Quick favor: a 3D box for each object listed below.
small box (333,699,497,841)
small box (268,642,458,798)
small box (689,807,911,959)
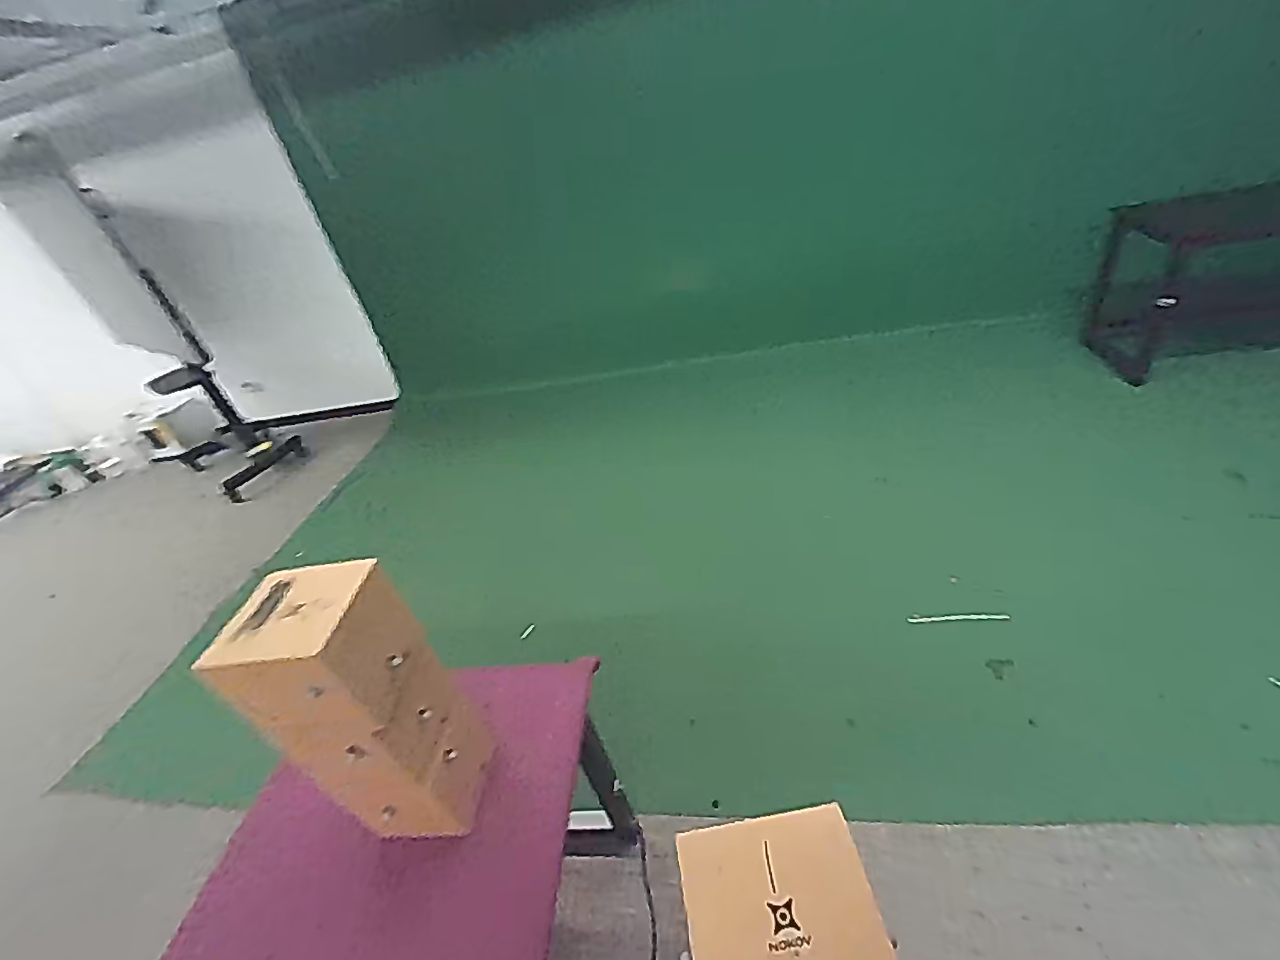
[{"bbox_3d":[-0.379,0.509,0.945,0.179,0.176,0.168,-9,36,11],"label":"small box"},{"bbox_3d":[-0.417,0.378,0.853,0.179,0.176,0.168,-8,34,12],"label":"small box"},{"bbox_3d":[0.147,0.440,0.498,0.168,0.176,0.179,-10,36,1],"label":"small box"}]
